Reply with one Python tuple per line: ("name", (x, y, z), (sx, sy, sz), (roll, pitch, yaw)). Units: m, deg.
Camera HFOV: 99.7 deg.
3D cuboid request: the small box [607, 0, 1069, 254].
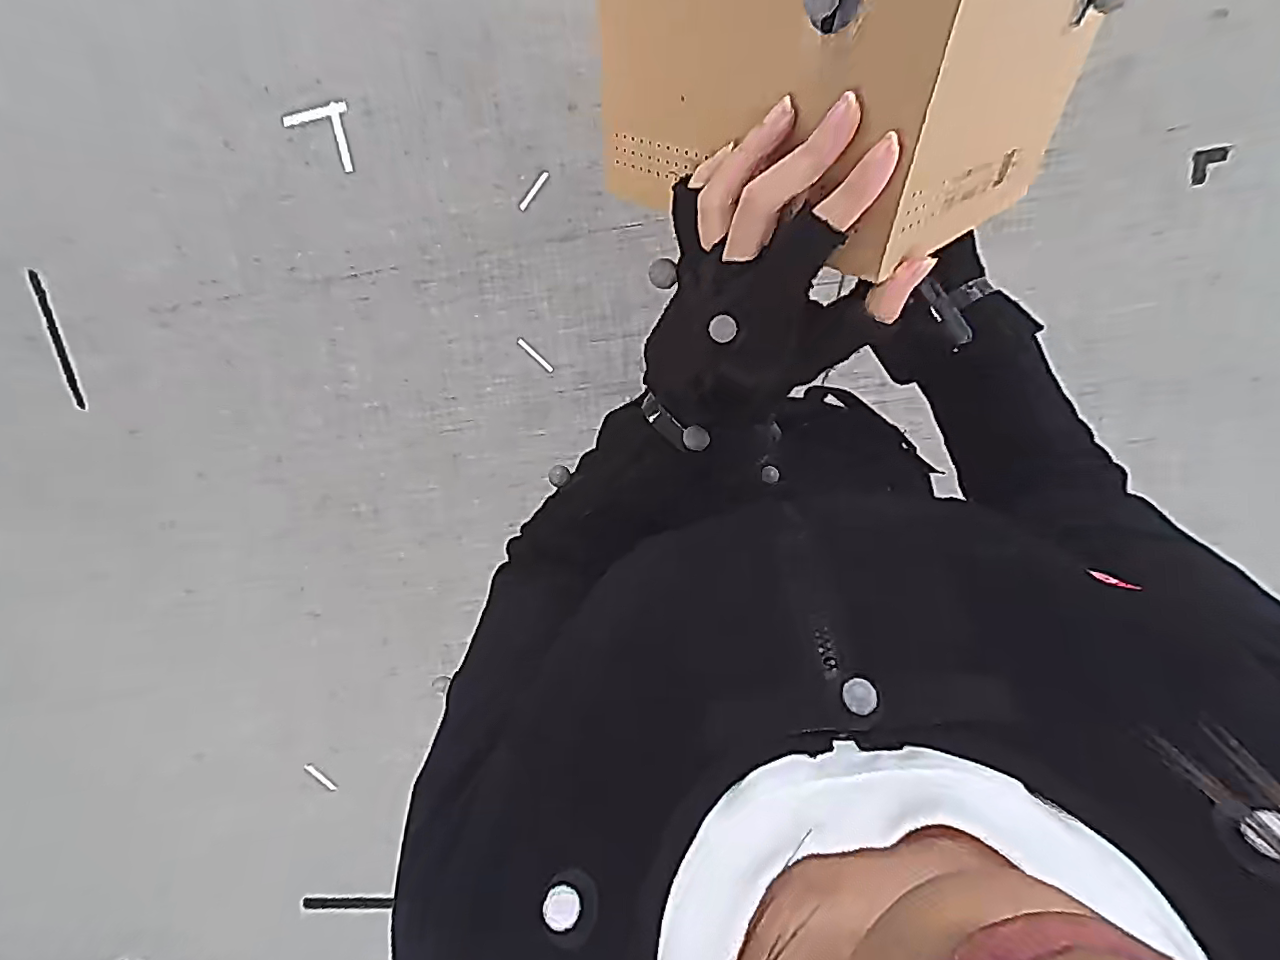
("small box", (0.098, -0.231, 0.274), (0.179, 0.168, 0.176), (35, 142, 32))
